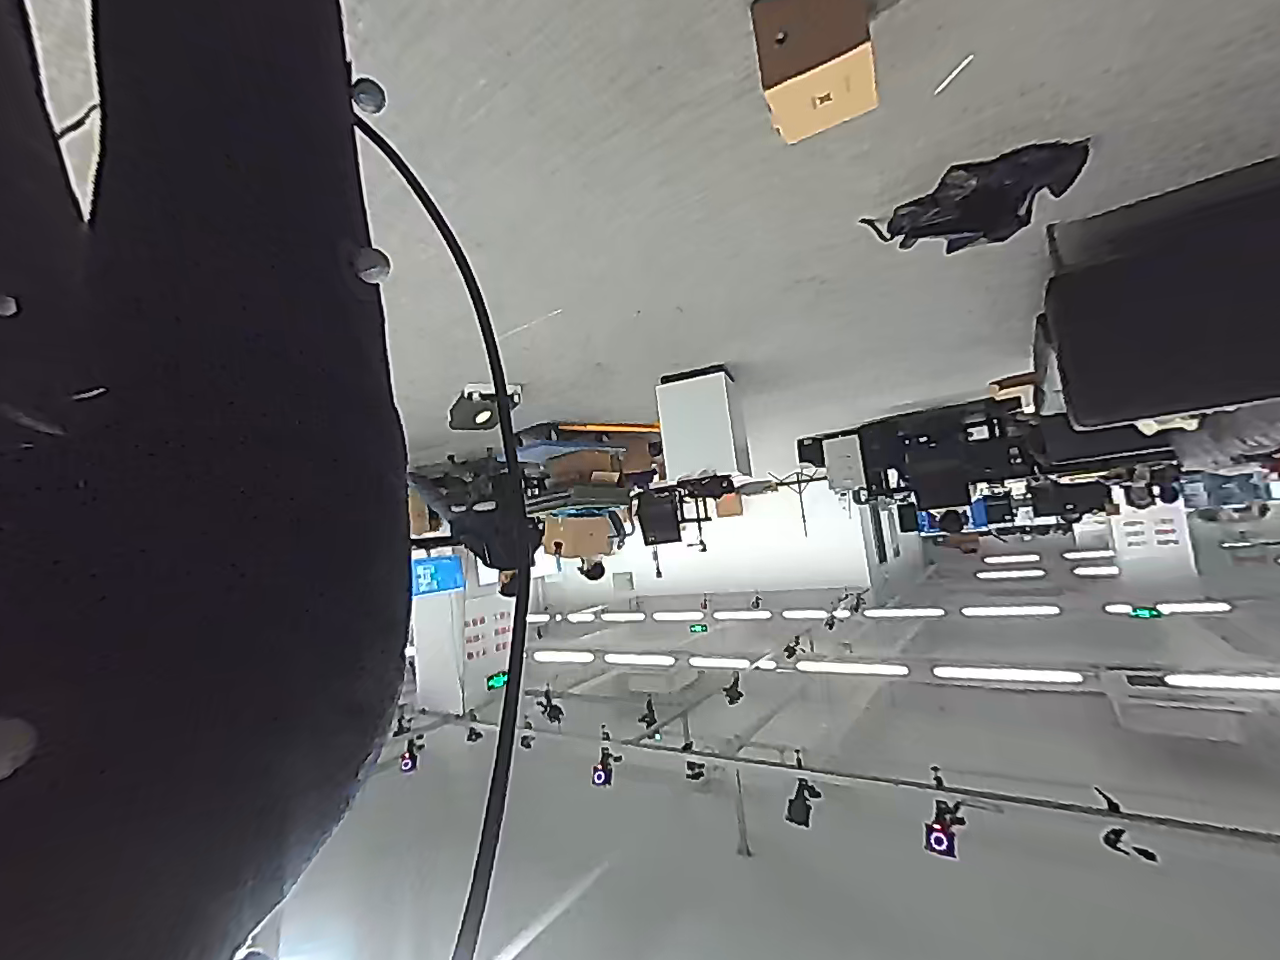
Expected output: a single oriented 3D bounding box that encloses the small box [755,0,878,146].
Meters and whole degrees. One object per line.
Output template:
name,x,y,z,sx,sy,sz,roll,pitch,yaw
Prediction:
small box,0.310,-0.747,0.954,0.179,0.176,0.168,-10,175,27
